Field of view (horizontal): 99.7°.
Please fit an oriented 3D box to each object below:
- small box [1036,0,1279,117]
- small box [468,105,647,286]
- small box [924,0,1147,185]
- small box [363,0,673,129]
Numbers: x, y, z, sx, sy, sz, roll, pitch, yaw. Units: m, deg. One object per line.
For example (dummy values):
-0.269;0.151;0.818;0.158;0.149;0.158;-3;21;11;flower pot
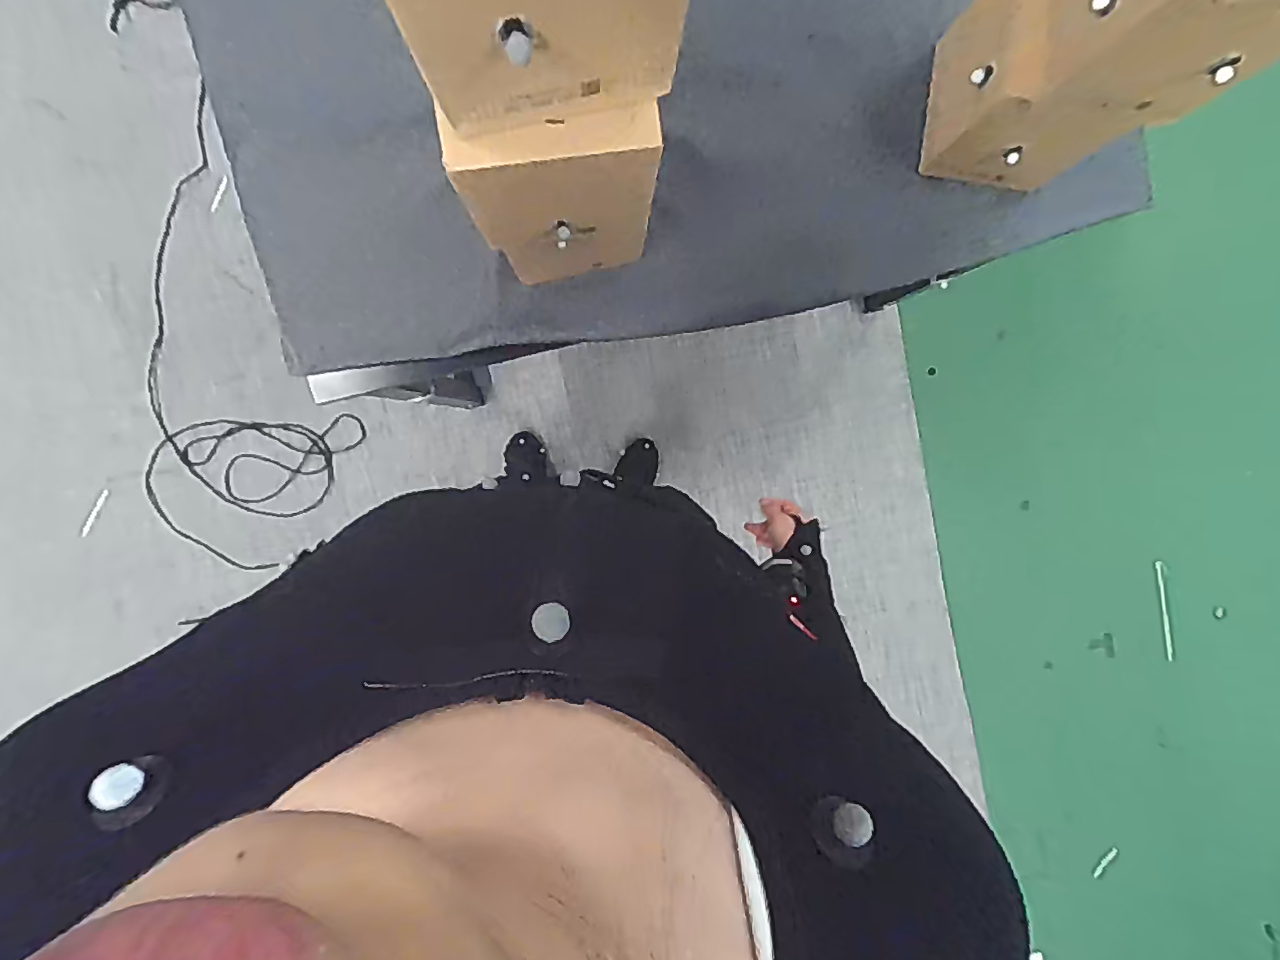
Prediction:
0.501;-0.468;0.490;0.168;0.176;0.179;1;93;-4;small box
-0.095;-0.353;0.635;0.168;0.176;0.179;-14;95;-2;small box
0.472;-0.487;0.649;0.168;0.176;0.179;7;93;-4;small box
-0.075;-0.335;0.308;0.168;0.176;0.179;-14;95;-2;small box
